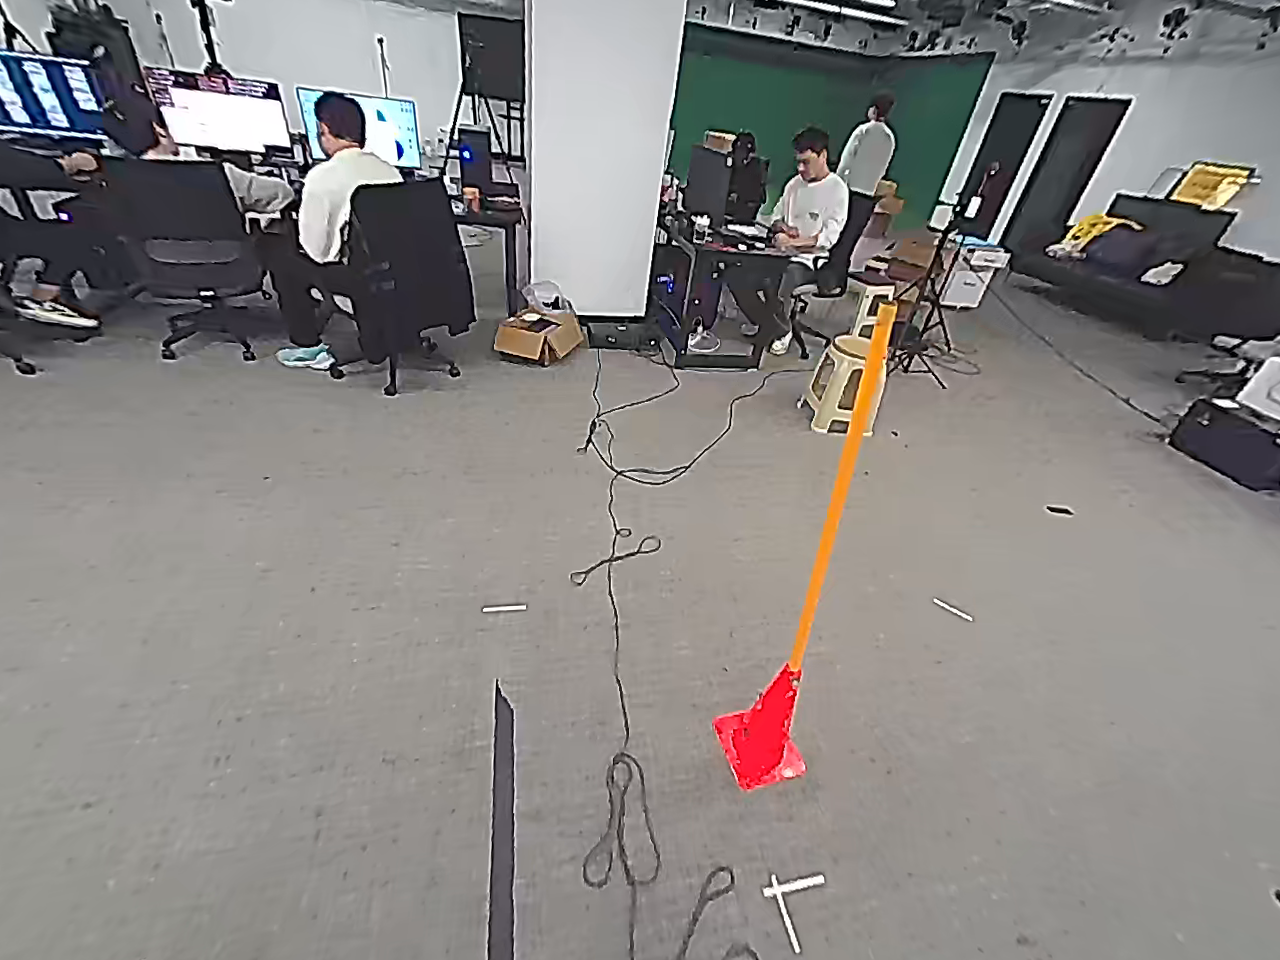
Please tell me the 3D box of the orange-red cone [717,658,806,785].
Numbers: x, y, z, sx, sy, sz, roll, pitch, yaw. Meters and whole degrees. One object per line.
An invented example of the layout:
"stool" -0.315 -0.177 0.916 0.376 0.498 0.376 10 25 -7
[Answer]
"orange-red cone" 0.343 0.576 1.367 0.199 0.360 0.198 -5 37 -16
